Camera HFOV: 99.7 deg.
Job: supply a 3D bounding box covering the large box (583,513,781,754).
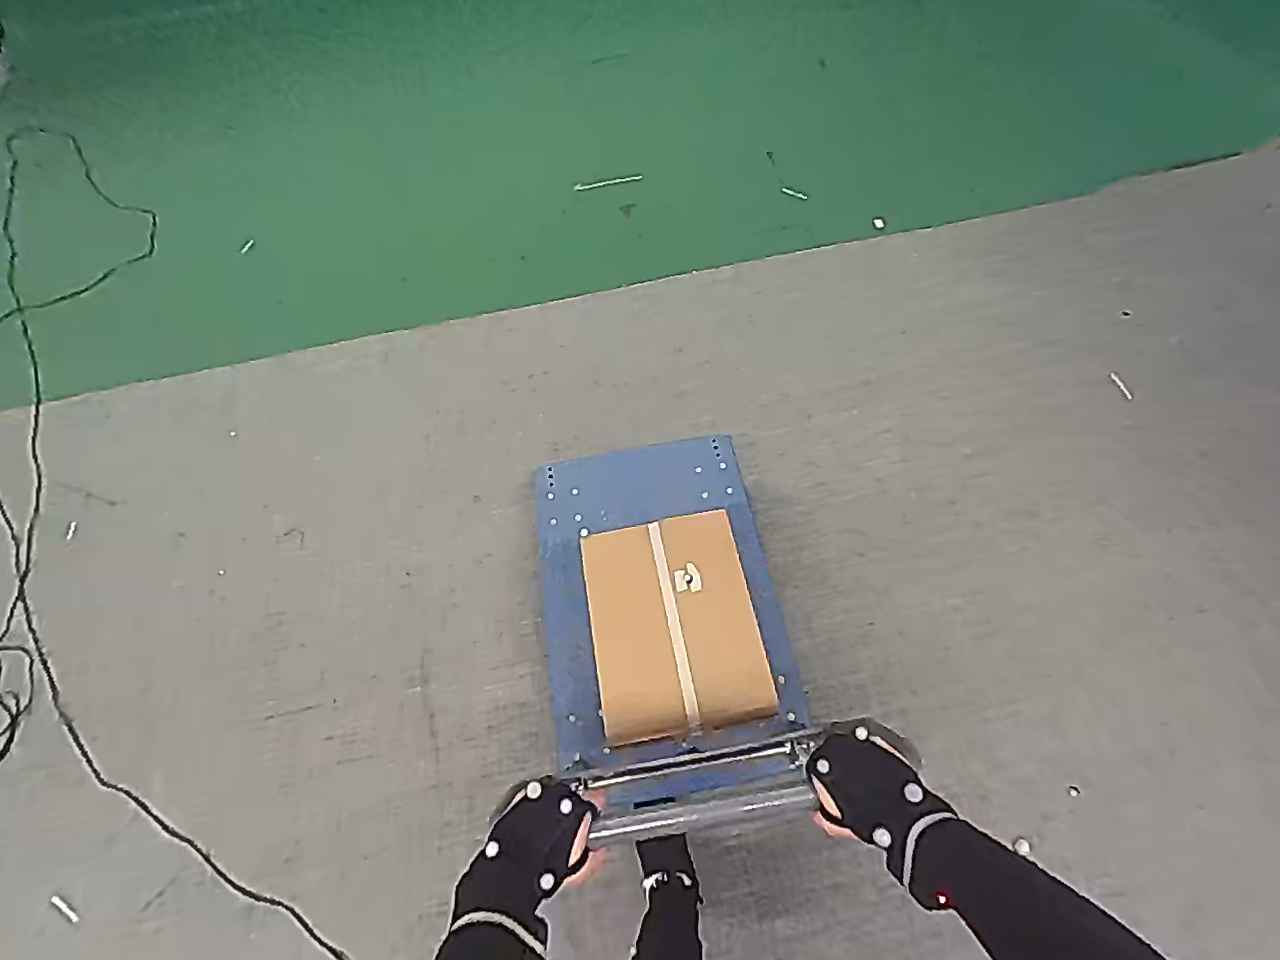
[{"bbox_3d":[0.079,0.340,1.170,0.320,0.320,0.408,-11,61,-1],"label":"large box"}]
